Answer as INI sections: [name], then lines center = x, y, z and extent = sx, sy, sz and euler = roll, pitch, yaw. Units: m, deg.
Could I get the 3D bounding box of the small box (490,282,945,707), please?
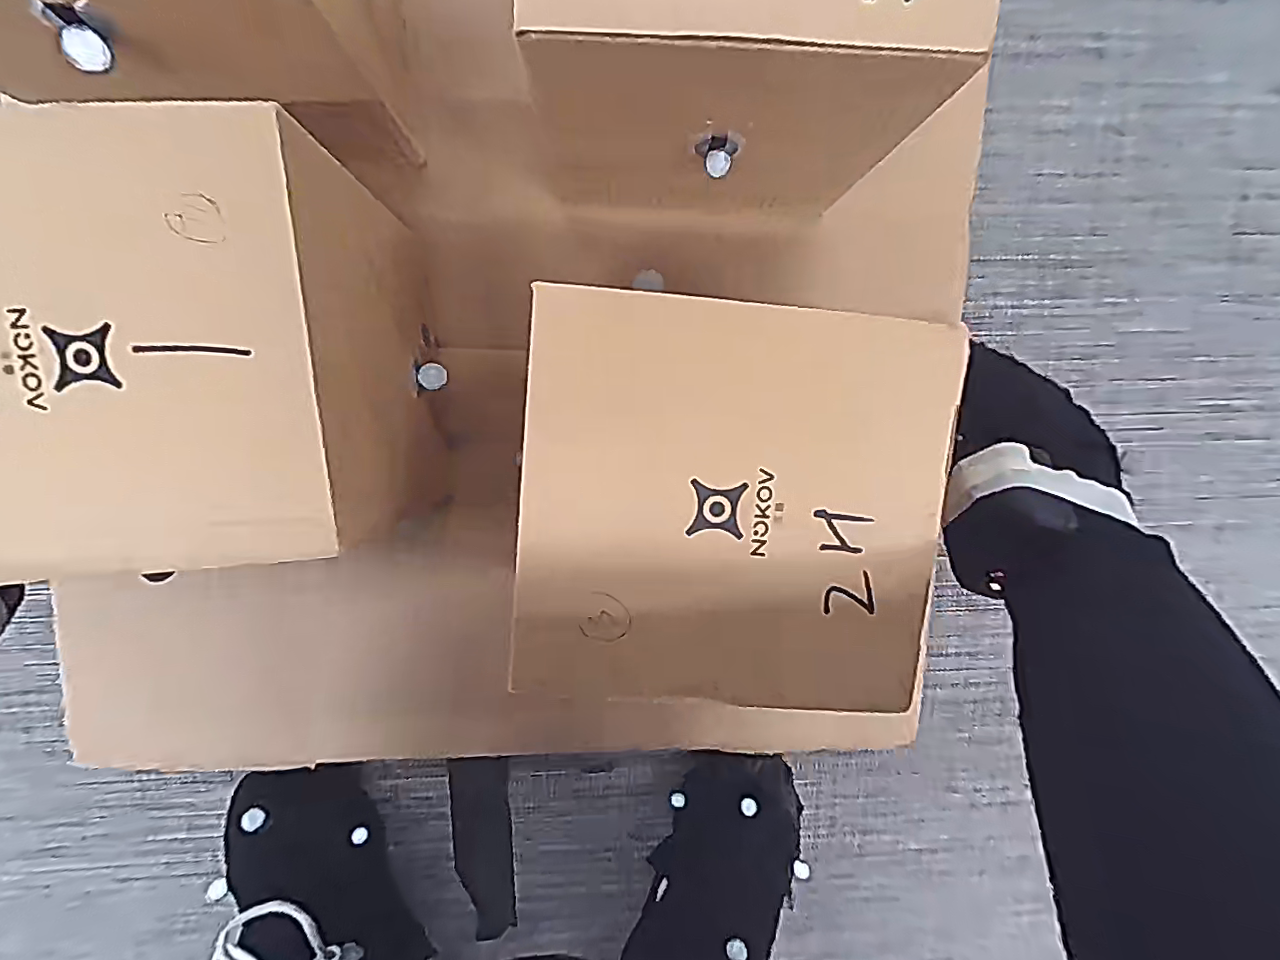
[small box]
center = 0.027, 0.002, 0.303
extent = 0.179, 0.176, 0.168
euler = 5, 97, -4
